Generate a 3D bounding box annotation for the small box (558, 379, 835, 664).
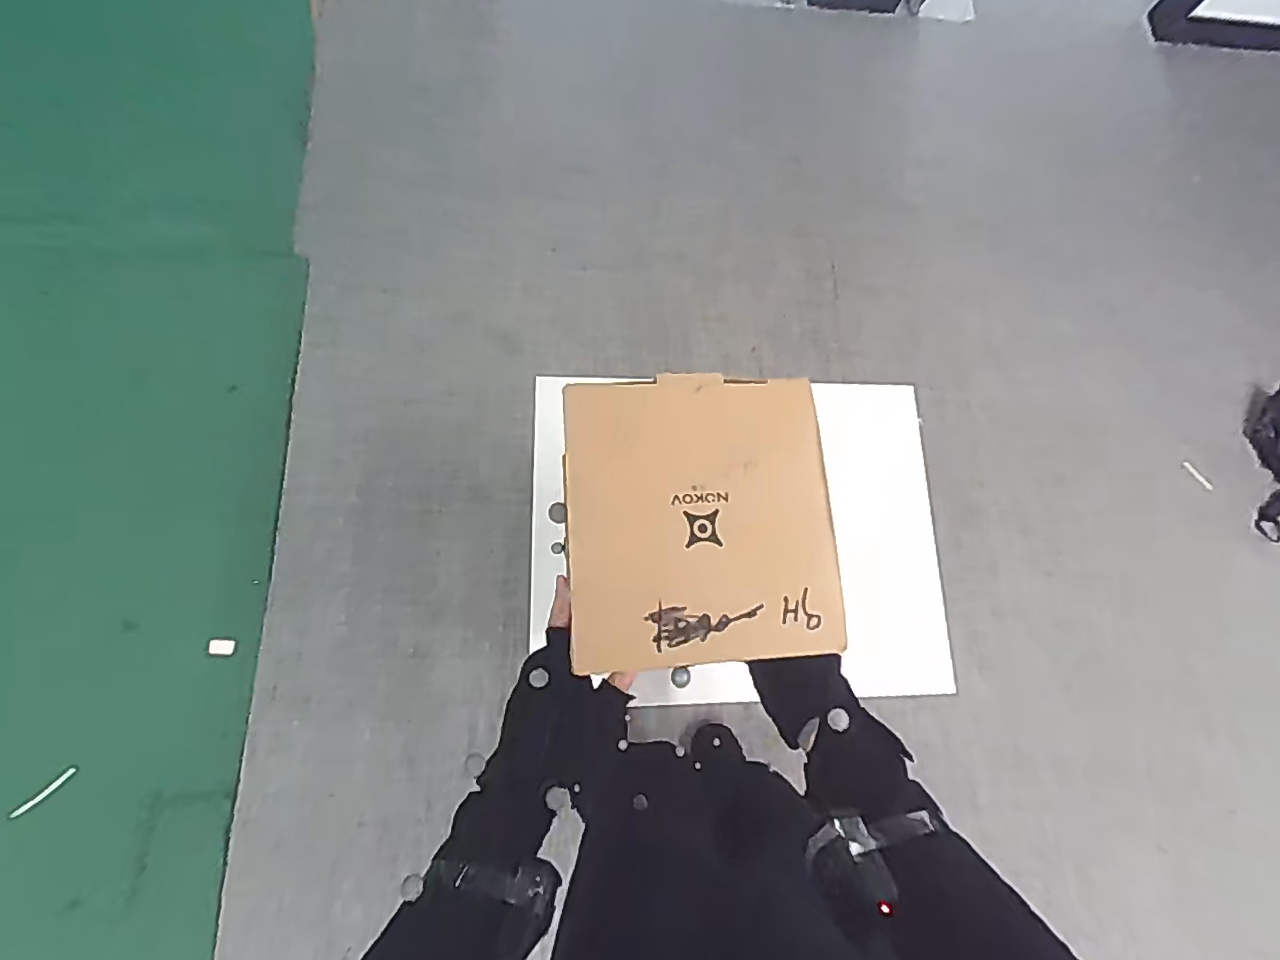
[{"bbox_3d":[0.023,0.038,0.413,0.168,0.176,0.179,-3,77,-7],"label":"small box"}]
